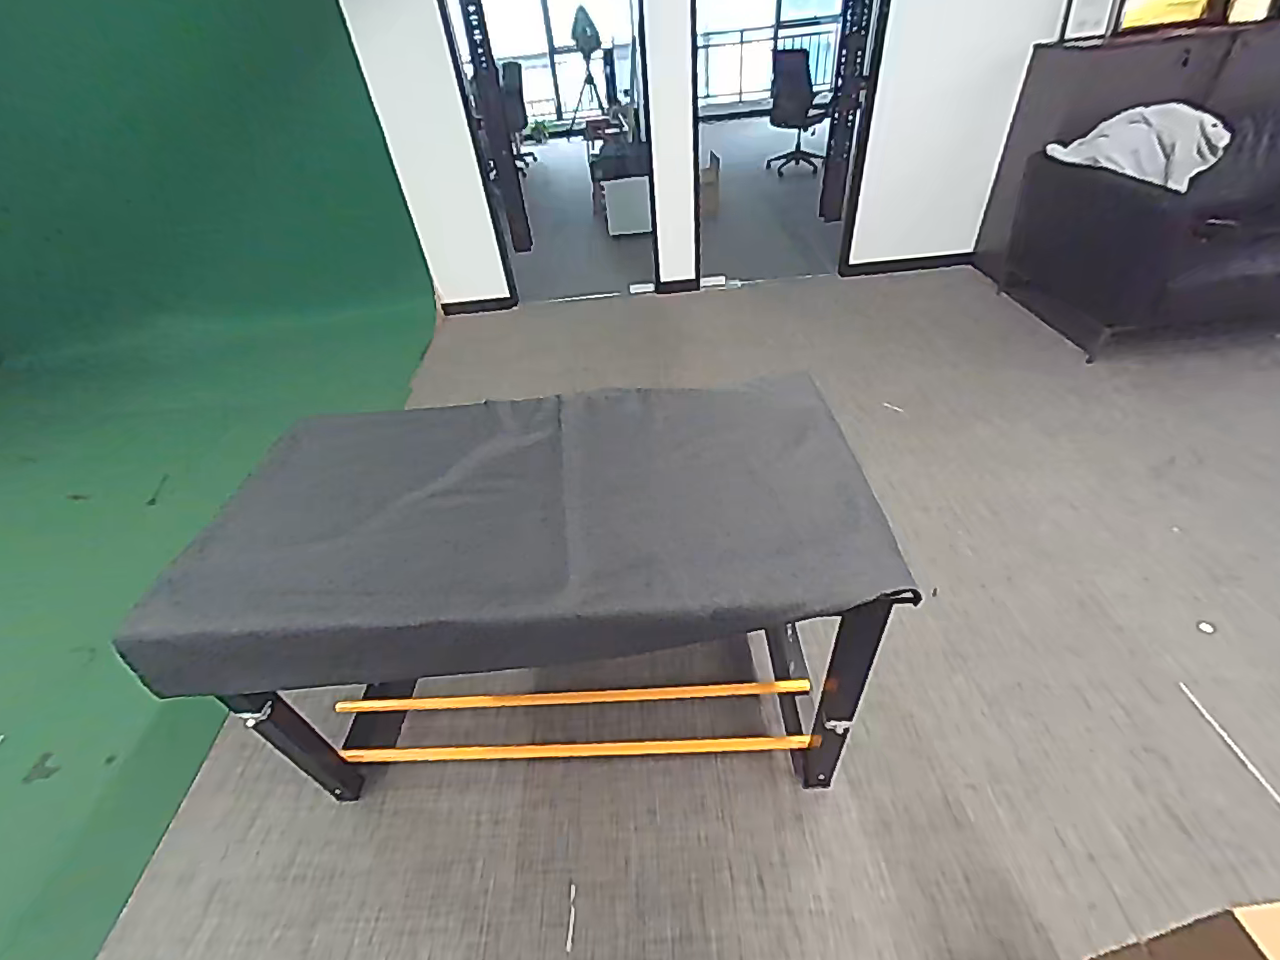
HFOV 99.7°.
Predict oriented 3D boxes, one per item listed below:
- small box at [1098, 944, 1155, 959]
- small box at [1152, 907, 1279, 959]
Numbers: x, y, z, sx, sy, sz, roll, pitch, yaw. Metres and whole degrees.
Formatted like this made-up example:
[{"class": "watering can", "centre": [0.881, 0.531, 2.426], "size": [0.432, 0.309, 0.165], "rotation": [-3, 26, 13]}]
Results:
[{"class": "small box", "centre": [0.691, 0.662, 0.633], "size": [0.168, 0.176, 0.179], "rotation": [-7, 41, -1]}, {"class": "small box", "centre": [0.680, 0.539, 0.525], "size": [0.168, 0.176, 0.179], "rotation": [-6, 40, -1]}]
